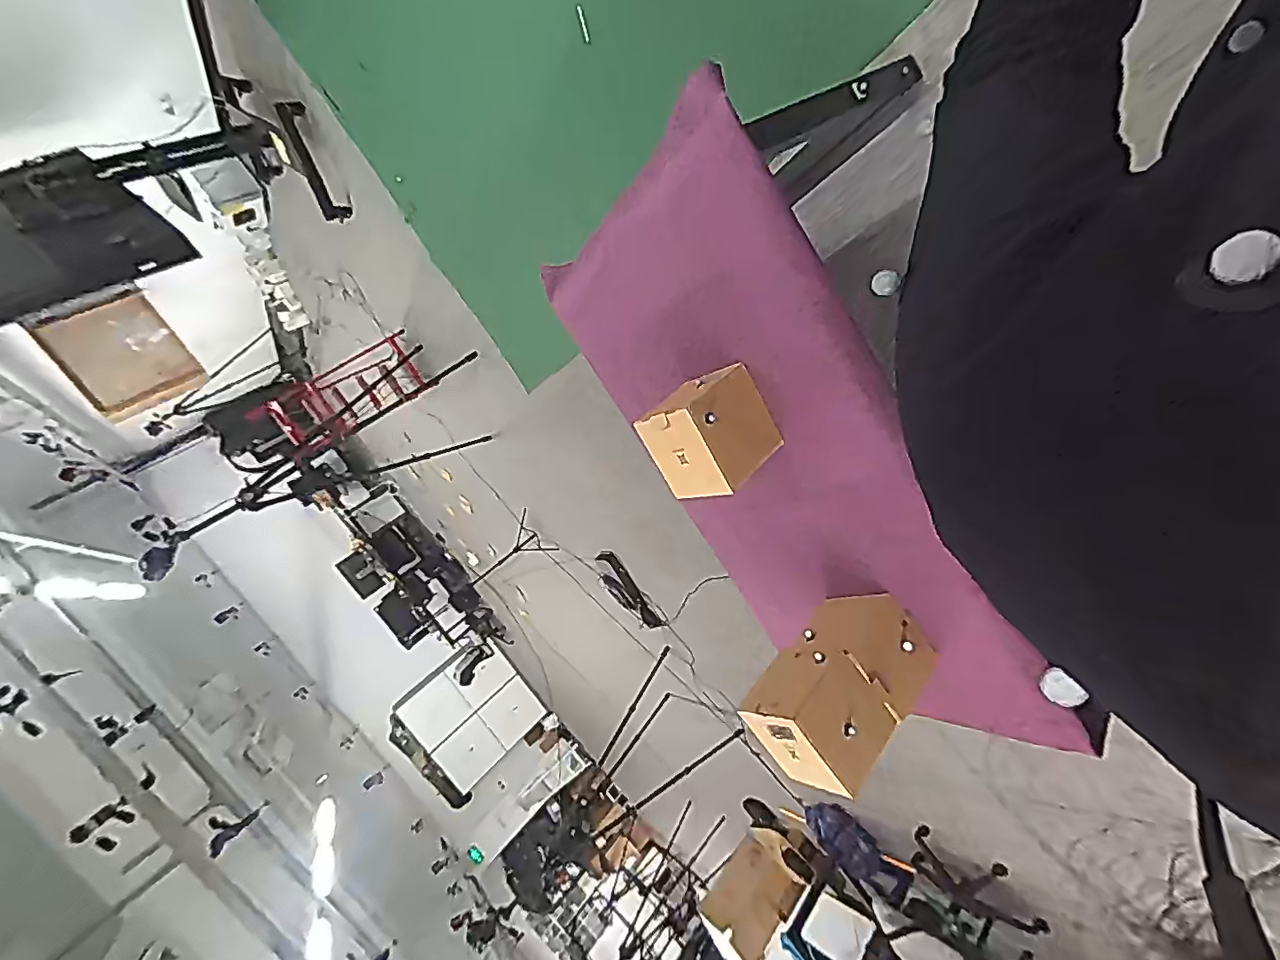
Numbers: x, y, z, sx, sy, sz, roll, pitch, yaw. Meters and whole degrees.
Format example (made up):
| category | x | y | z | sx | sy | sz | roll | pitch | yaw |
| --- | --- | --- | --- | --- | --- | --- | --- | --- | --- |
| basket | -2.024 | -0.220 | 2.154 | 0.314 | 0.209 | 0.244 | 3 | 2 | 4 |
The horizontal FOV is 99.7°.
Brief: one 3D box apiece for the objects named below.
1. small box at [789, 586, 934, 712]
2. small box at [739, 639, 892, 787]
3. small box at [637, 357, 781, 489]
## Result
| category | x | y | z | sx | sy | sz | roll | pitch | yaw |
| --- | --- | --- | --- | --- | --- | --- | --- | --- | --- |
| small box | 0.444 | 0.330 | 1.085 | 0.168 | 0.176 | 0.179 | 52 | 151 | -4 |
| small box | 0.326 | 0.419 | 1.006 | 0.179 | 0.176 | 0.168 | 54 | 153 | -6 |
| small box | 0.134 | -0.103 | 1.019 | 0.168 | 0.176 | 0.179 | -8 | 117 | 57 |
